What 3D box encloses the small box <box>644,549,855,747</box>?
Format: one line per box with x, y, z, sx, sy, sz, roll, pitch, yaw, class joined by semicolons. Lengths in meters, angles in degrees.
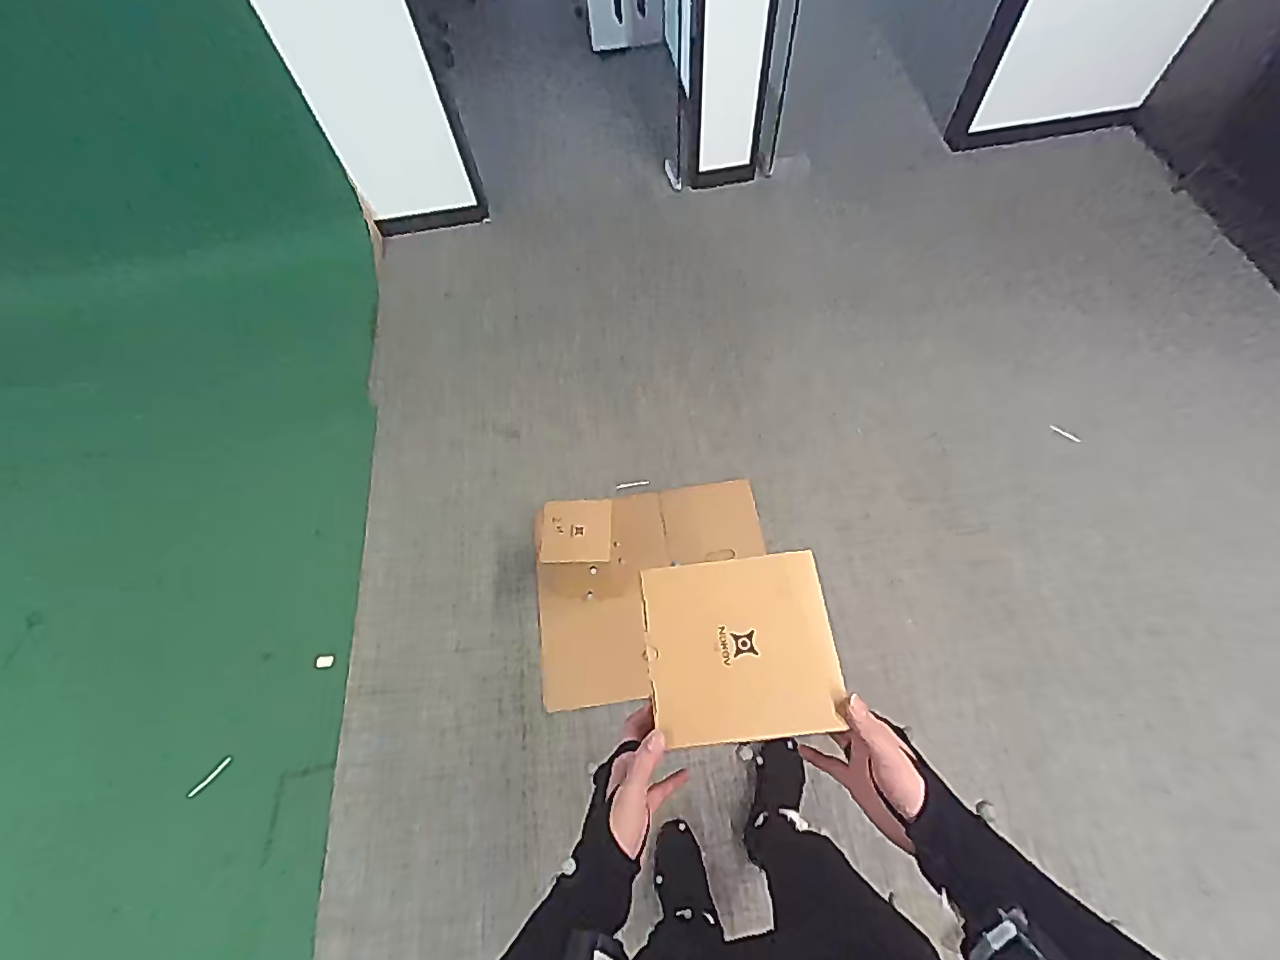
0.104;0.184;0.582;0.179;0.176;0.168;-8;66;3;small box

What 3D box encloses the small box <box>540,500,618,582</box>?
-0.150;0.160;1.401;0.179;0.176;0.168;-1;62;3;small box

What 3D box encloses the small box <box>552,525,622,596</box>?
-0.144;0.231;1.552;0.179;0.176;0.168;-1;62;3;small box
